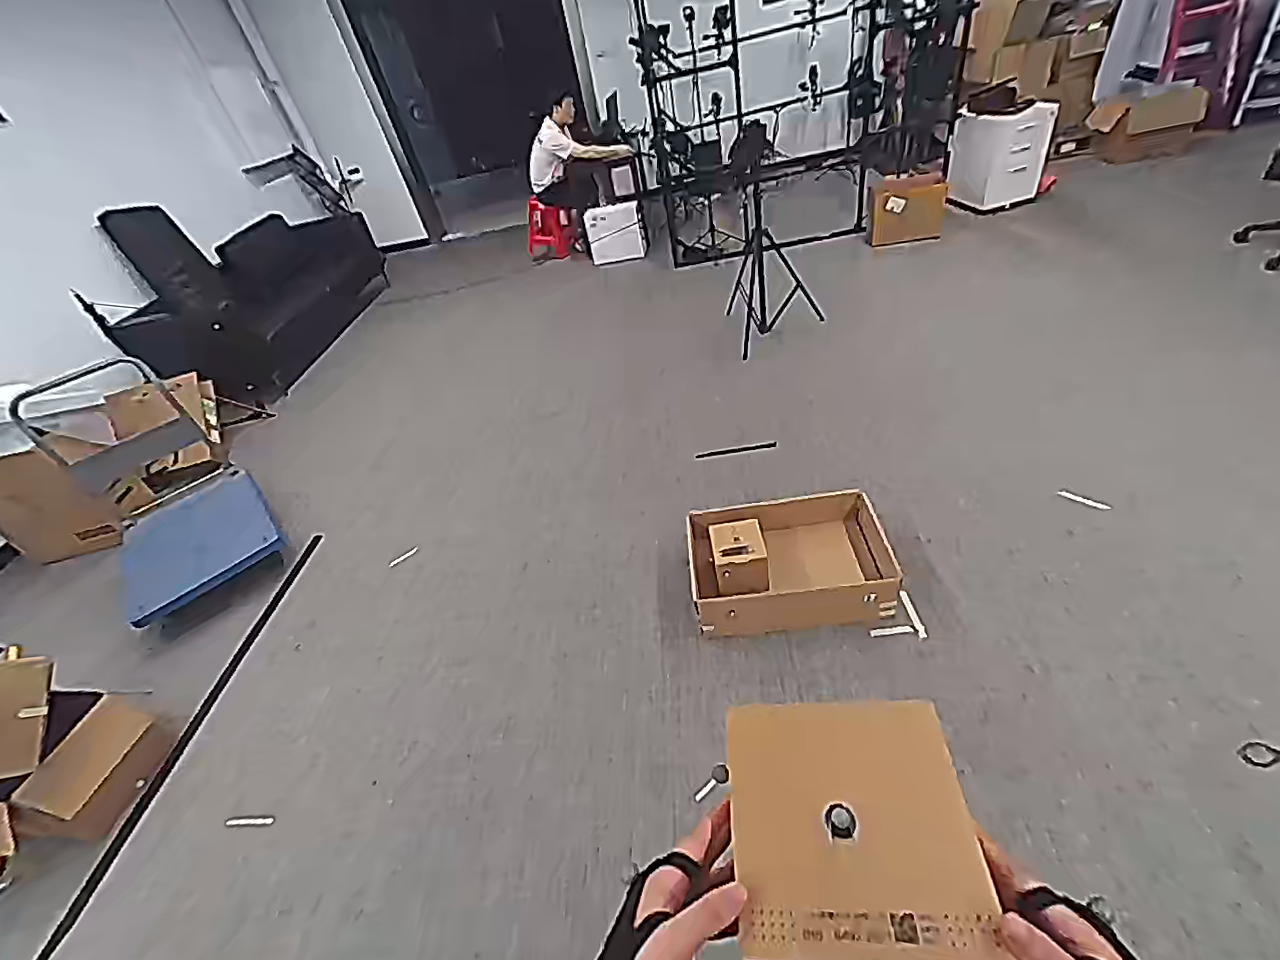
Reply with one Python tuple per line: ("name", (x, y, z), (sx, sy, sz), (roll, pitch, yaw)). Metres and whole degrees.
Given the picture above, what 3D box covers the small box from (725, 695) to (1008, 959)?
("small box", (0.165, 0.297, 0.443), (0.168, 0.179, 0.176), (-6, 44, 11))
